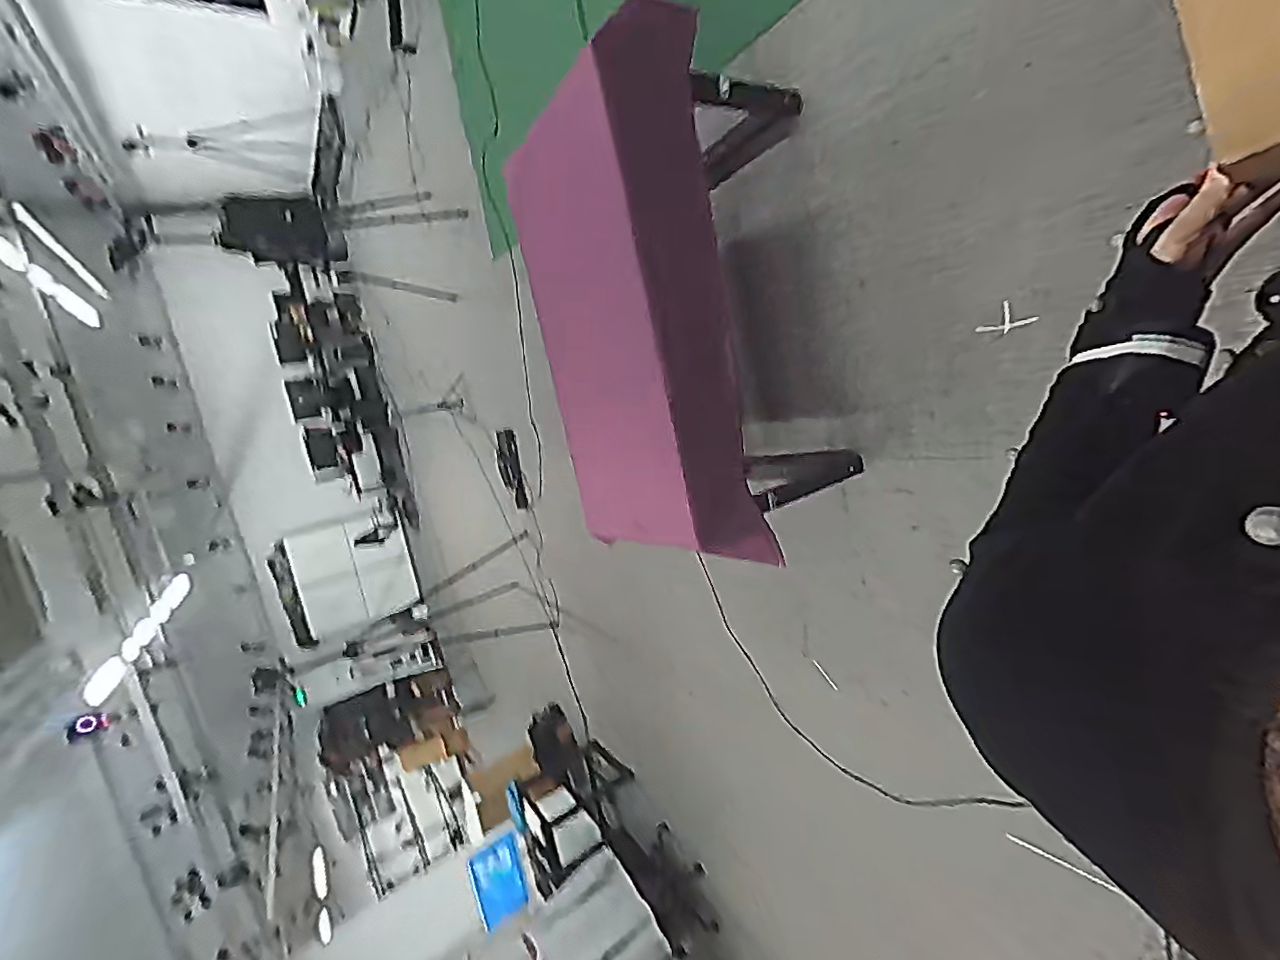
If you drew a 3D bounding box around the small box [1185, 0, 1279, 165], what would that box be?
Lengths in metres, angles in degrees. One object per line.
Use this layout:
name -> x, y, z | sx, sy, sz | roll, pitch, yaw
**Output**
small box -> 0.439, -0.307, 0.305 | 0.168, 0.176, 0.179 | -12, 96, 53
